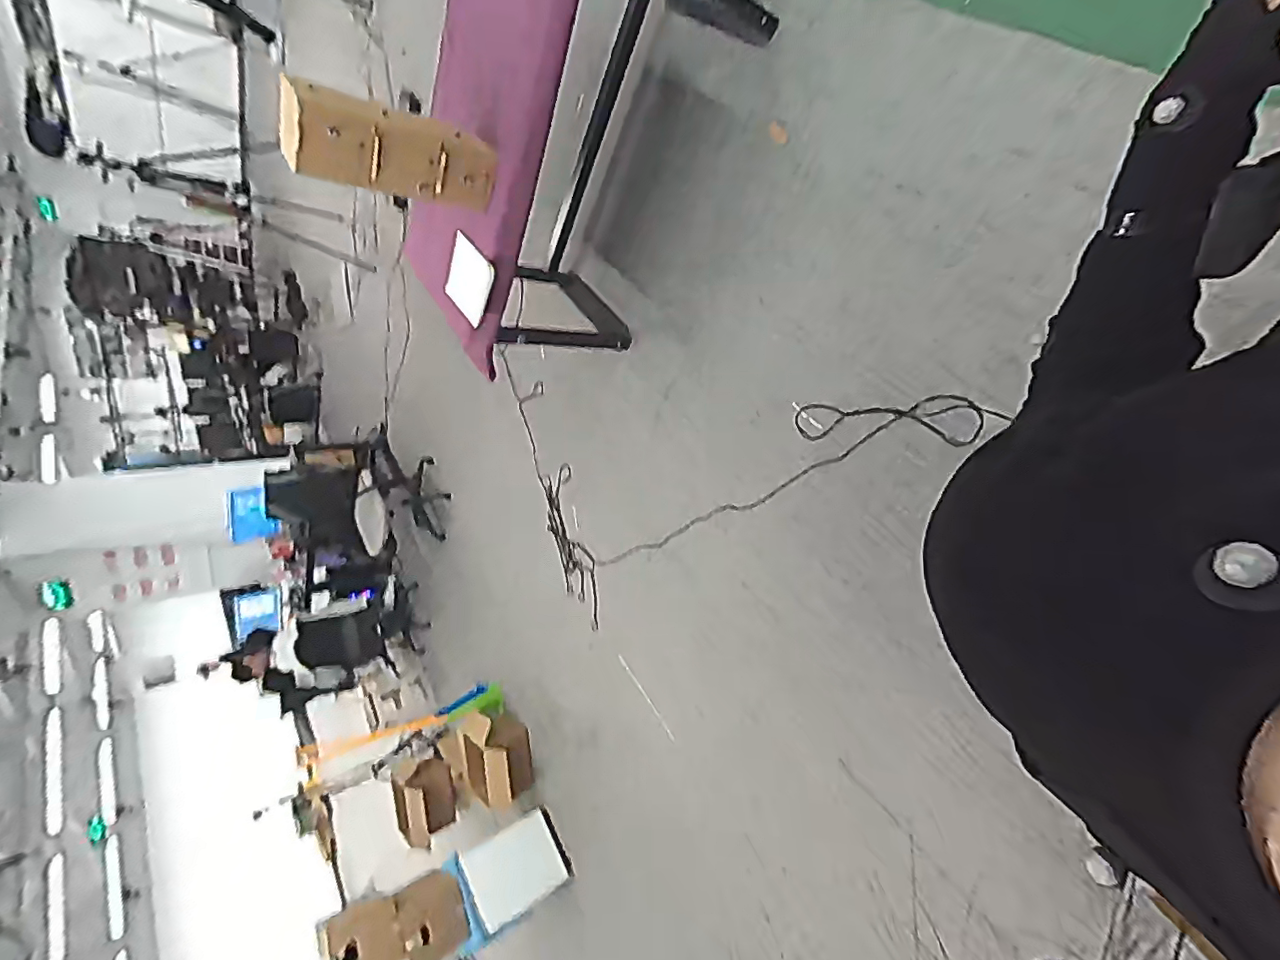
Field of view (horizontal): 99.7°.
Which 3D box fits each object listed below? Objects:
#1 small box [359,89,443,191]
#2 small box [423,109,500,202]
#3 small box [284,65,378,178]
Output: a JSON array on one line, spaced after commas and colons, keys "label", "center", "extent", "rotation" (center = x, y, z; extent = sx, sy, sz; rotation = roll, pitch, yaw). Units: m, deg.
[{"label": "small box", "center": [-0.644, -0.899, 1.444], "extent": [0.179, 0.176, 0.168], "rotation": [54, 132, 29]}, {"label": "small box", "center": [-0.525, -0.924, 1.556], "extent": [0.179, 0.176, 0.168], "rotation": [52, 131, 28]}, {"label": "small box", "center": [-0.763, -0.875, 1.335], "extent": [0.179, 0.176, 0.168], "rotation": [54, 132, 28]}]
